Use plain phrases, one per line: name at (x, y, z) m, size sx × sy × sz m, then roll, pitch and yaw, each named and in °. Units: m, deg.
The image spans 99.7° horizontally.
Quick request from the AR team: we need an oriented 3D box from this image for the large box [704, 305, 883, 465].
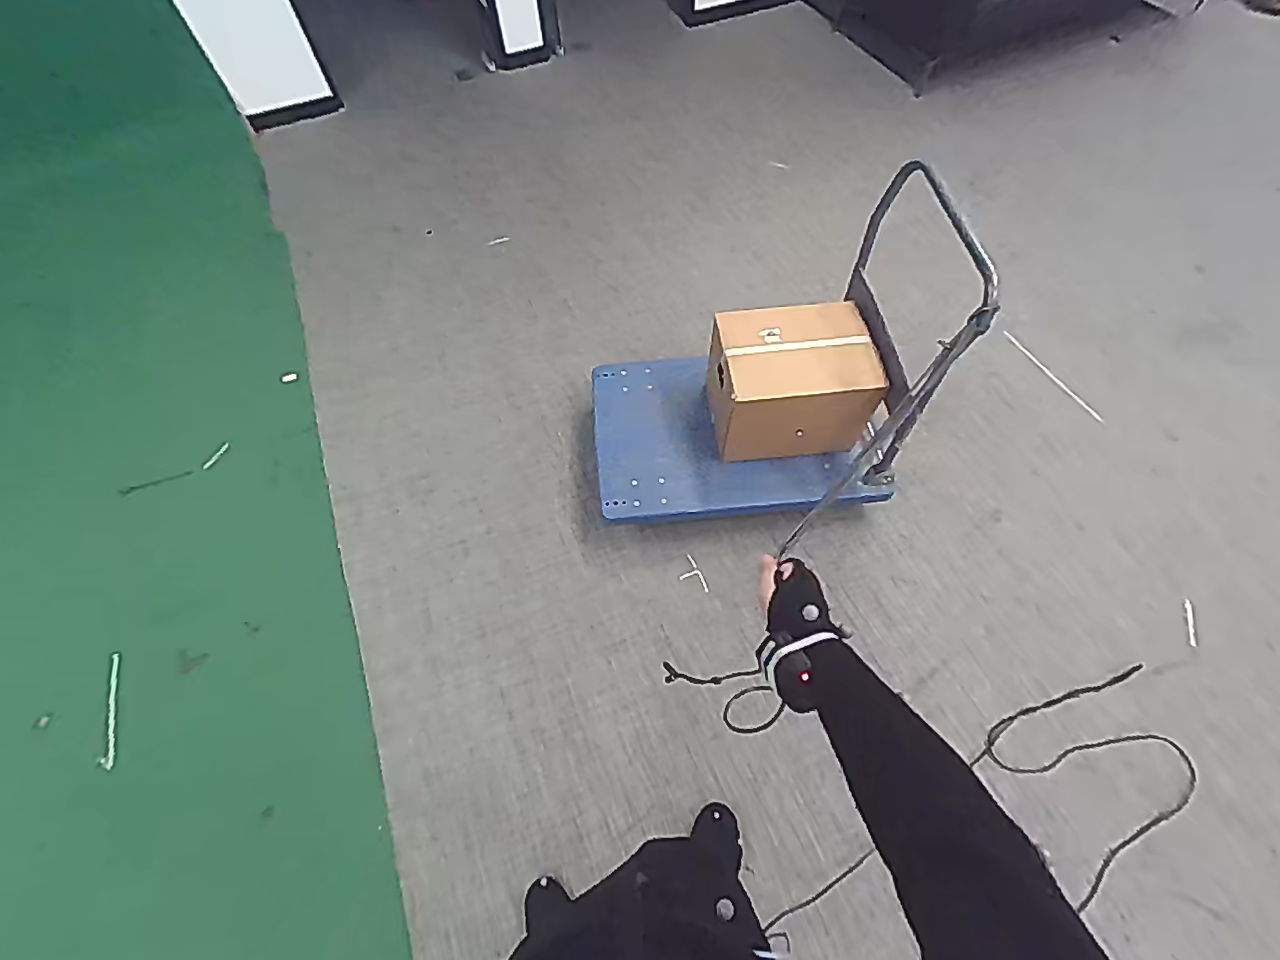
large box at (0.415, -0.265, 1.569) m, size 0.408 × 0.320 × 0.320 m, roll -6°, pitch 60°, yaw -1°
